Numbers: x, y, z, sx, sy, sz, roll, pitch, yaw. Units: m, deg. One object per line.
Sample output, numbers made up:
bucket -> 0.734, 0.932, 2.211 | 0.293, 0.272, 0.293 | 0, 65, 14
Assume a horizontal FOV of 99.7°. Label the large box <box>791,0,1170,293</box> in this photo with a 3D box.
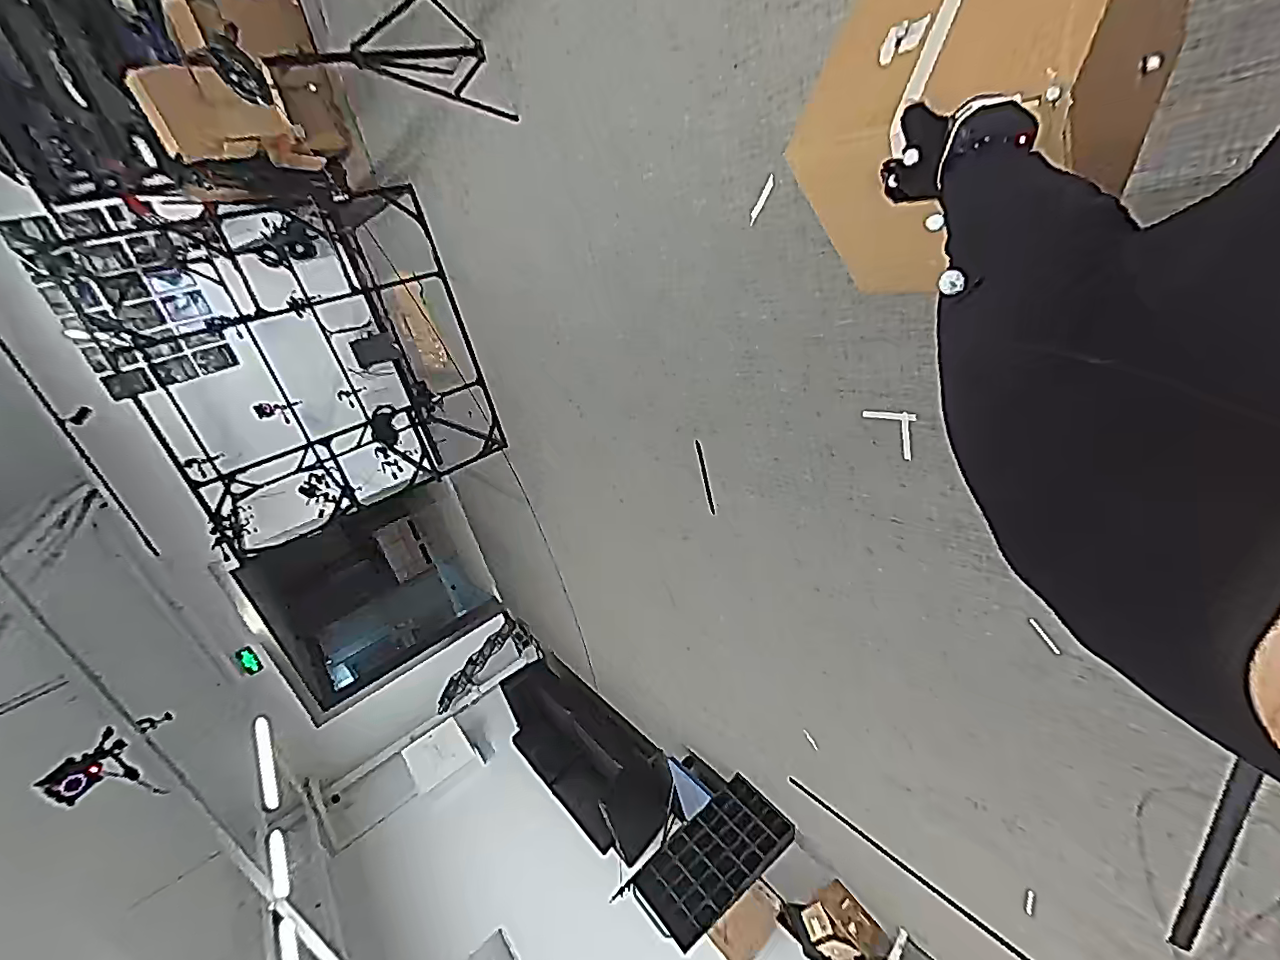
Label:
large box -> 0.477, -0.522, 0.749 | 0.320, 0.408, 0.320 | 20, 174, 47
